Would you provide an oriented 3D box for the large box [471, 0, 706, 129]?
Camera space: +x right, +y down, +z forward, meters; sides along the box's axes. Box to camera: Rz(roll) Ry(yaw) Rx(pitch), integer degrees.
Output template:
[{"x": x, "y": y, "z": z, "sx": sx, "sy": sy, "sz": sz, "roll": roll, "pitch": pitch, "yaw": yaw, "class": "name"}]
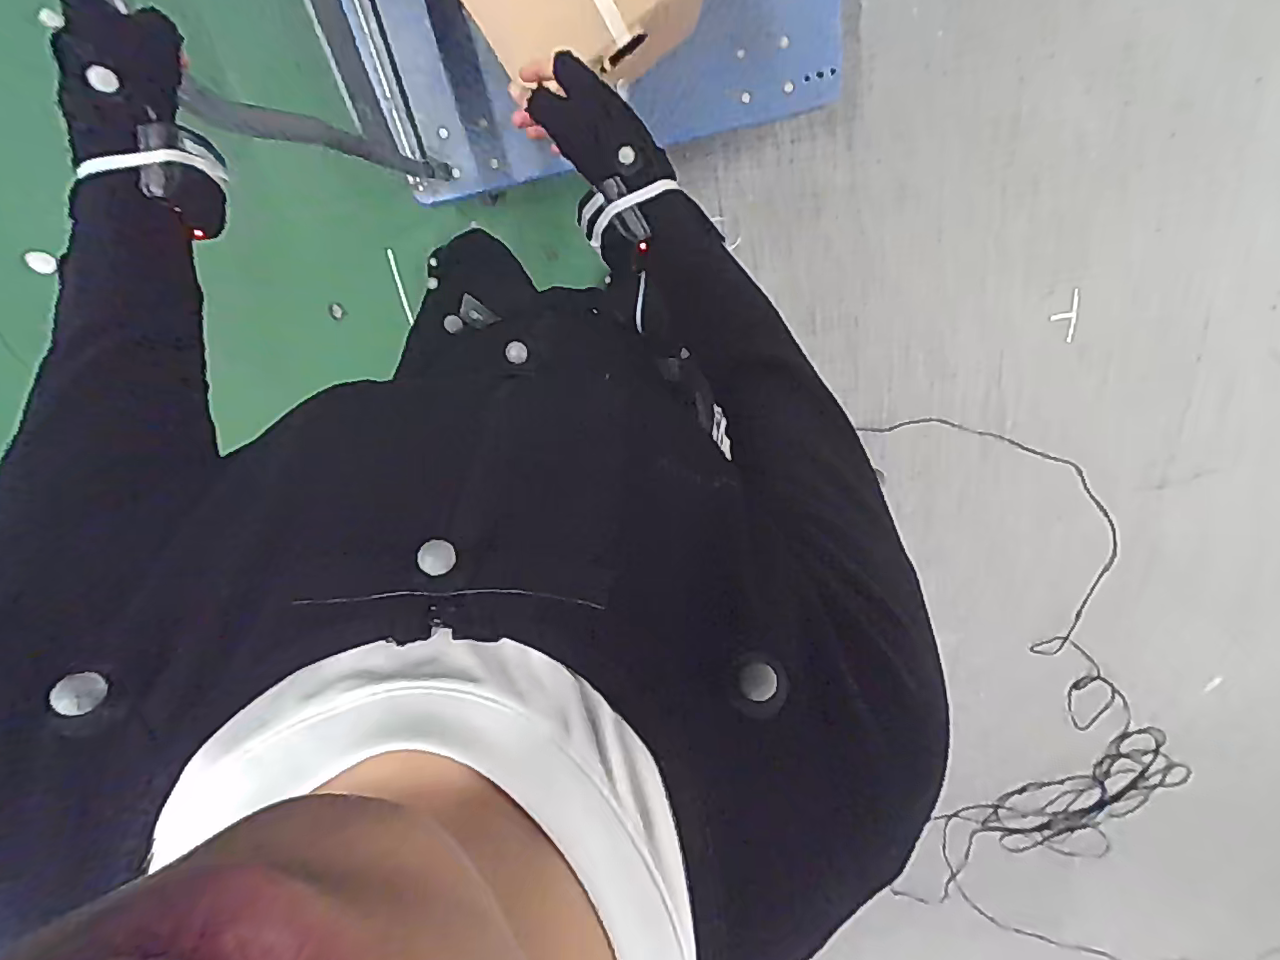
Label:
[{"x": -0.126, "y": -0.829, "z": 0.801, "sx": 0.320, "sy": 0.320, "sz": 0.408, "roll": -30, "pitch": 111, "yaw": 14, "class": "large box"}]
